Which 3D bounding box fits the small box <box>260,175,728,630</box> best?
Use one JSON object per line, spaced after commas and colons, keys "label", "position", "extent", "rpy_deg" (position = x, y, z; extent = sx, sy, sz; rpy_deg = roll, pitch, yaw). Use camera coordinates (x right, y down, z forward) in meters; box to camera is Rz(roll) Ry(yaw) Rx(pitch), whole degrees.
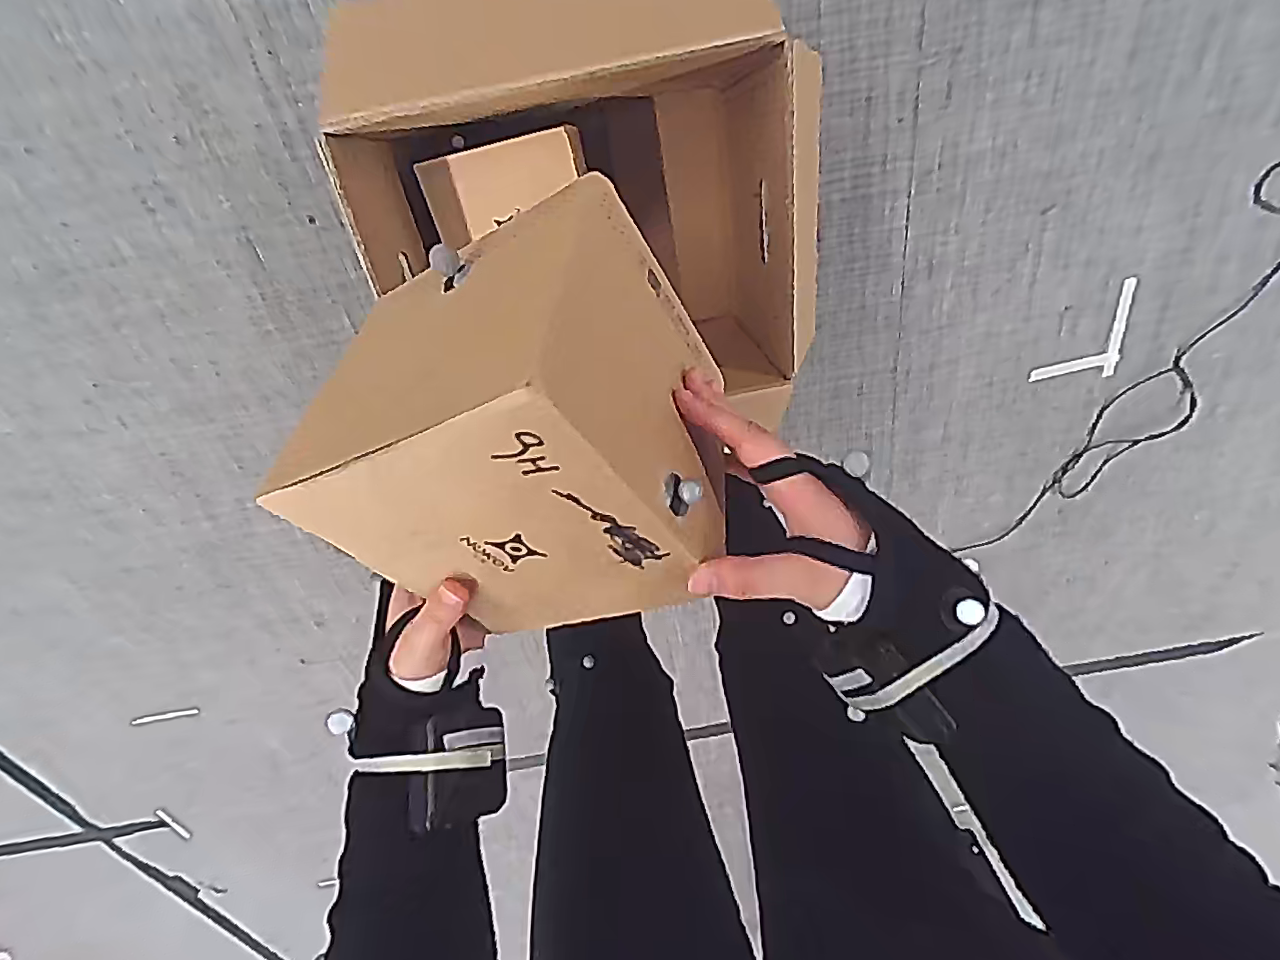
{"label": "small box", "position": [-0.056, -0.032, 0.314], "extent": [0.179, 0.176, 0.168], "rpy_deg": [-15, 137, 26]}
